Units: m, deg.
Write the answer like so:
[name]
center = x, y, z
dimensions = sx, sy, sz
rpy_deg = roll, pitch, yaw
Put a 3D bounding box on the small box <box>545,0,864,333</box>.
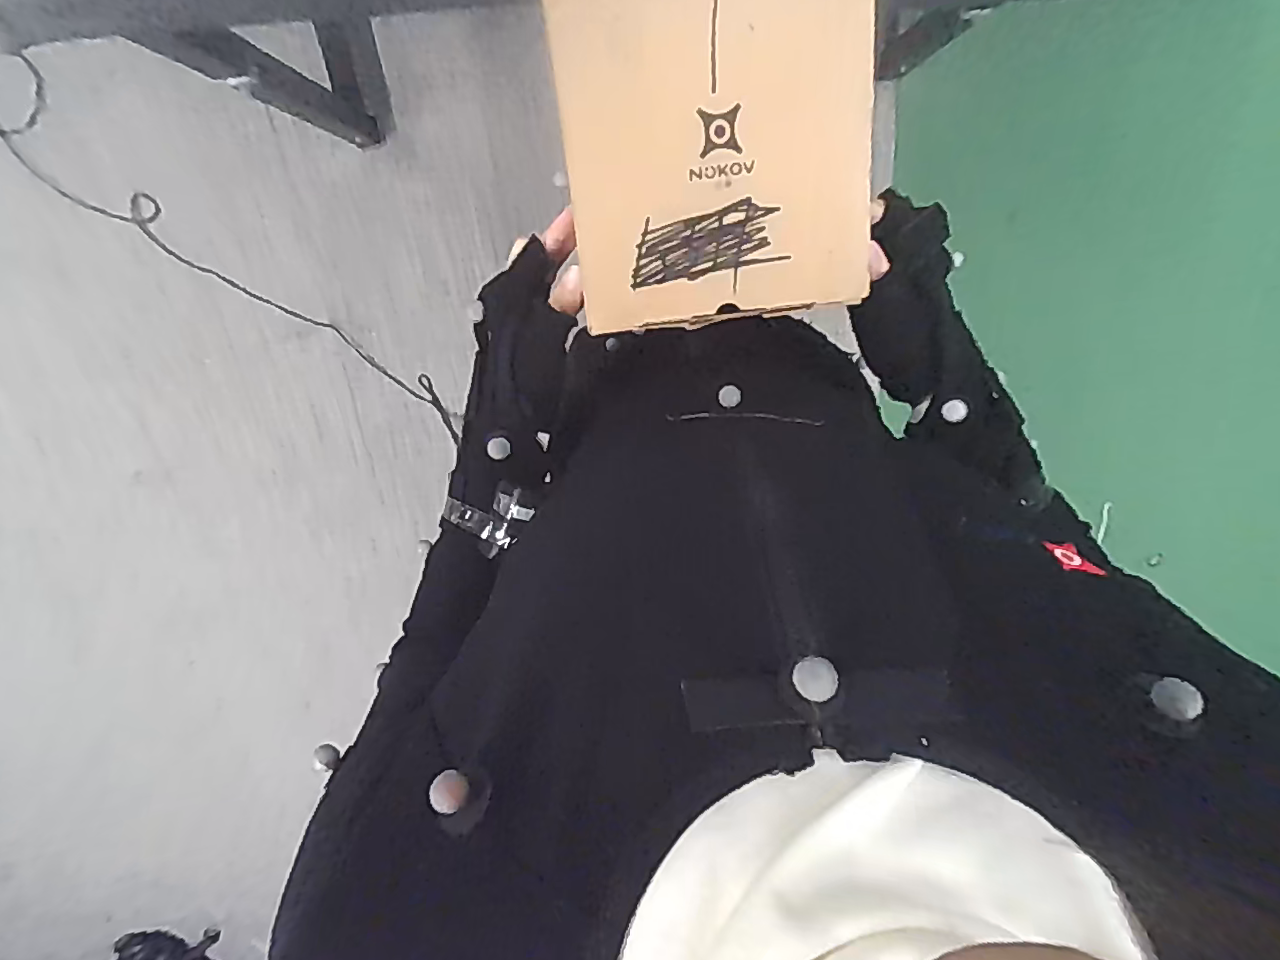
[small box]
center = 0.037, -0.204, 0.375
dimensions = 0.168, 0.176, 0.179
rpy_deg = -6, 109, 0
